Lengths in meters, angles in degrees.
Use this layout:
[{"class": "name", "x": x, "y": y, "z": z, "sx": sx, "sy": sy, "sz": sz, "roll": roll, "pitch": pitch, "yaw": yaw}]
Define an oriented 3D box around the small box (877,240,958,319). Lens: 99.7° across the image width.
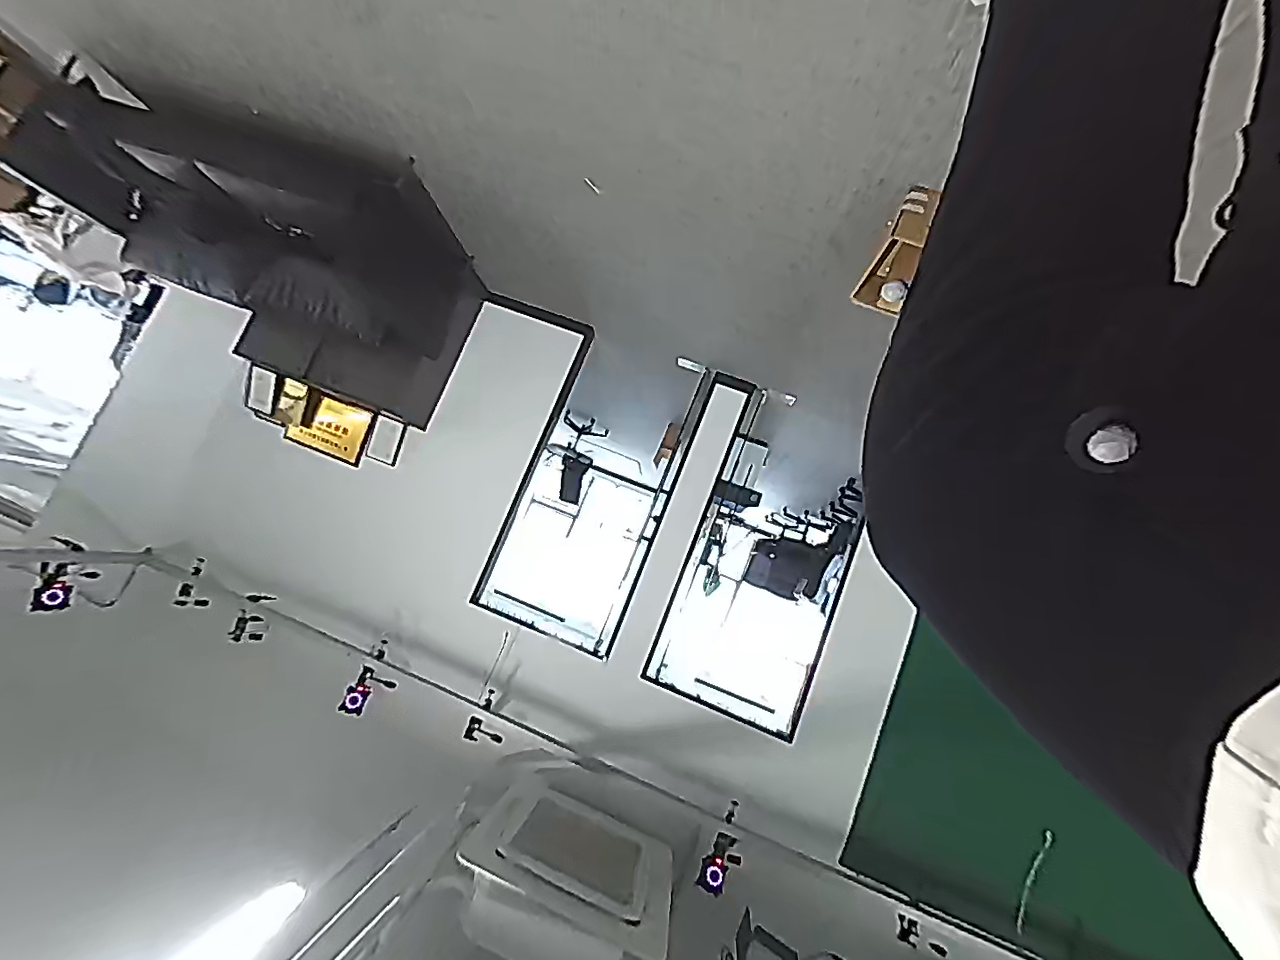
[{"class": "small box", "x": 0.939, "y": -0.683, "z": 1.835, "sx": 0.179, "sy": 0.176, "sz": 0.168, "roll": 20, "pitch": 171, "yaw": 11}]
